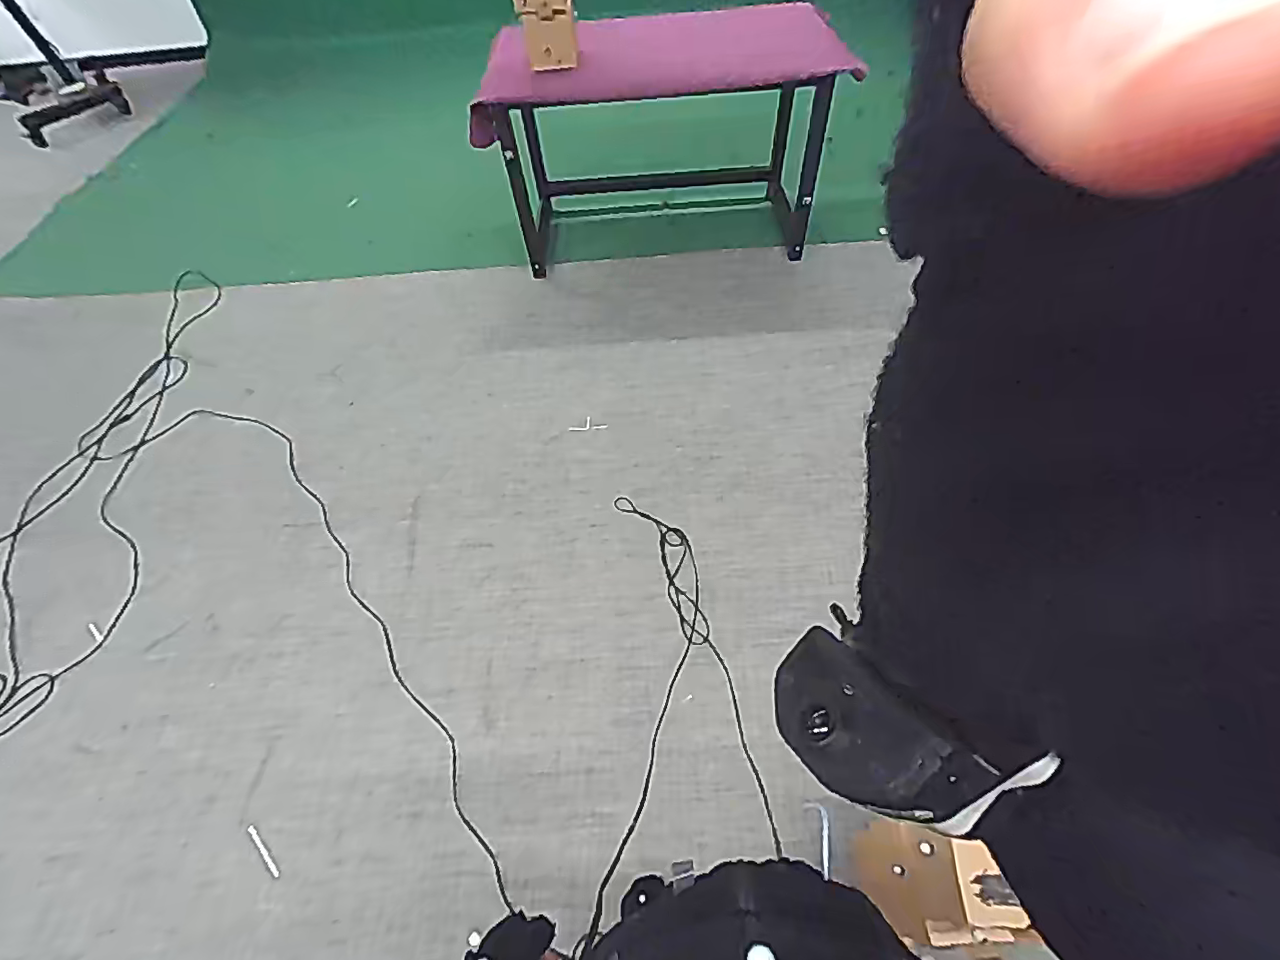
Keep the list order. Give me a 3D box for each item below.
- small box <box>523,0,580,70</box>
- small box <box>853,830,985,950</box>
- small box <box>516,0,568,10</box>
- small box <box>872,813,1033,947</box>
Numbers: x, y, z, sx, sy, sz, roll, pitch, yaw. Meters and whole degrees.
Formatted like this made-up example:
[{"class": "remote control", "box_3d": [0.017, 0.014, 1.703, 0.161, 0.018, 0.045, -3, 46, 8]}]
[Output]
[{"class": "small box", "box_3d": [-0.300, -1.543, 1.858, 0.168, 0.176, 0.179, -4, 56, 0]}, {"class": "small box", "box_3d": [0.544, 0.808, 1.080, 0.168, 0.176, 0.179, 0, 56, 3]}, {"class": "small box", "box_3d": [-0.318, -1.621, 1.714, 0.168, 0.176, 0.179, 0, 56, 3]}, {"class": "small box", "box_3d": [0.532, 0.699, 0.955, 0.168, 0.176, 0.179, -3, 56, 1]}]
